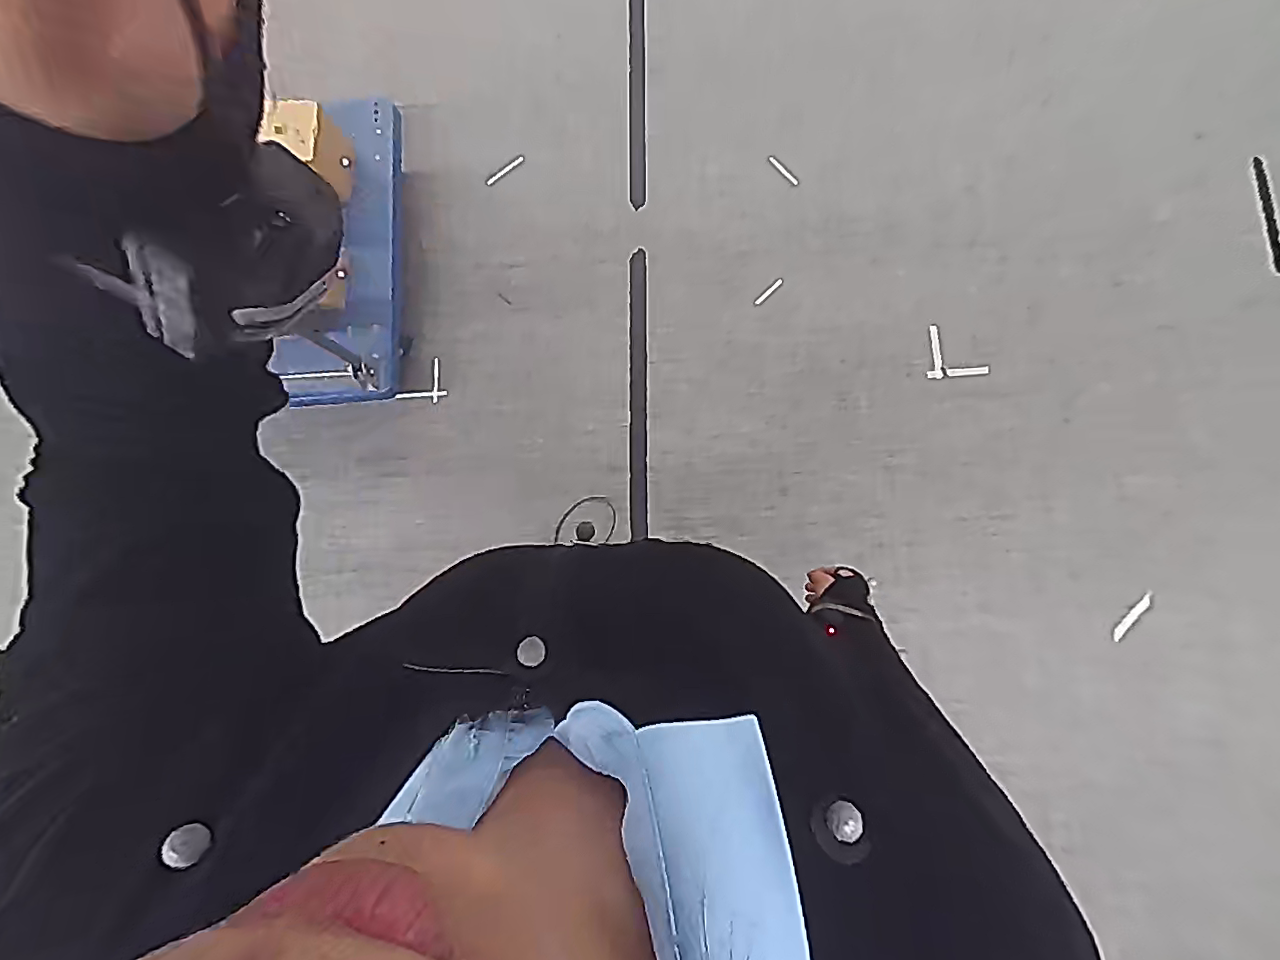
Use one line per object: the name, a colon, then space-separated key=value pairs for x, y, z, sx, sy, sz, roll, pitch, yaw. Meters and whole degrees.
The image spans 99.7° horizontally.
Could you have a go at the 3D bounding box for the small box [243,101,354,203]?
small box: x=-0.884 y=-0.850 z=1.412 sx=0.179 sy=0.176 sz=0.168 roll=1 pitch=83 yaw=2
